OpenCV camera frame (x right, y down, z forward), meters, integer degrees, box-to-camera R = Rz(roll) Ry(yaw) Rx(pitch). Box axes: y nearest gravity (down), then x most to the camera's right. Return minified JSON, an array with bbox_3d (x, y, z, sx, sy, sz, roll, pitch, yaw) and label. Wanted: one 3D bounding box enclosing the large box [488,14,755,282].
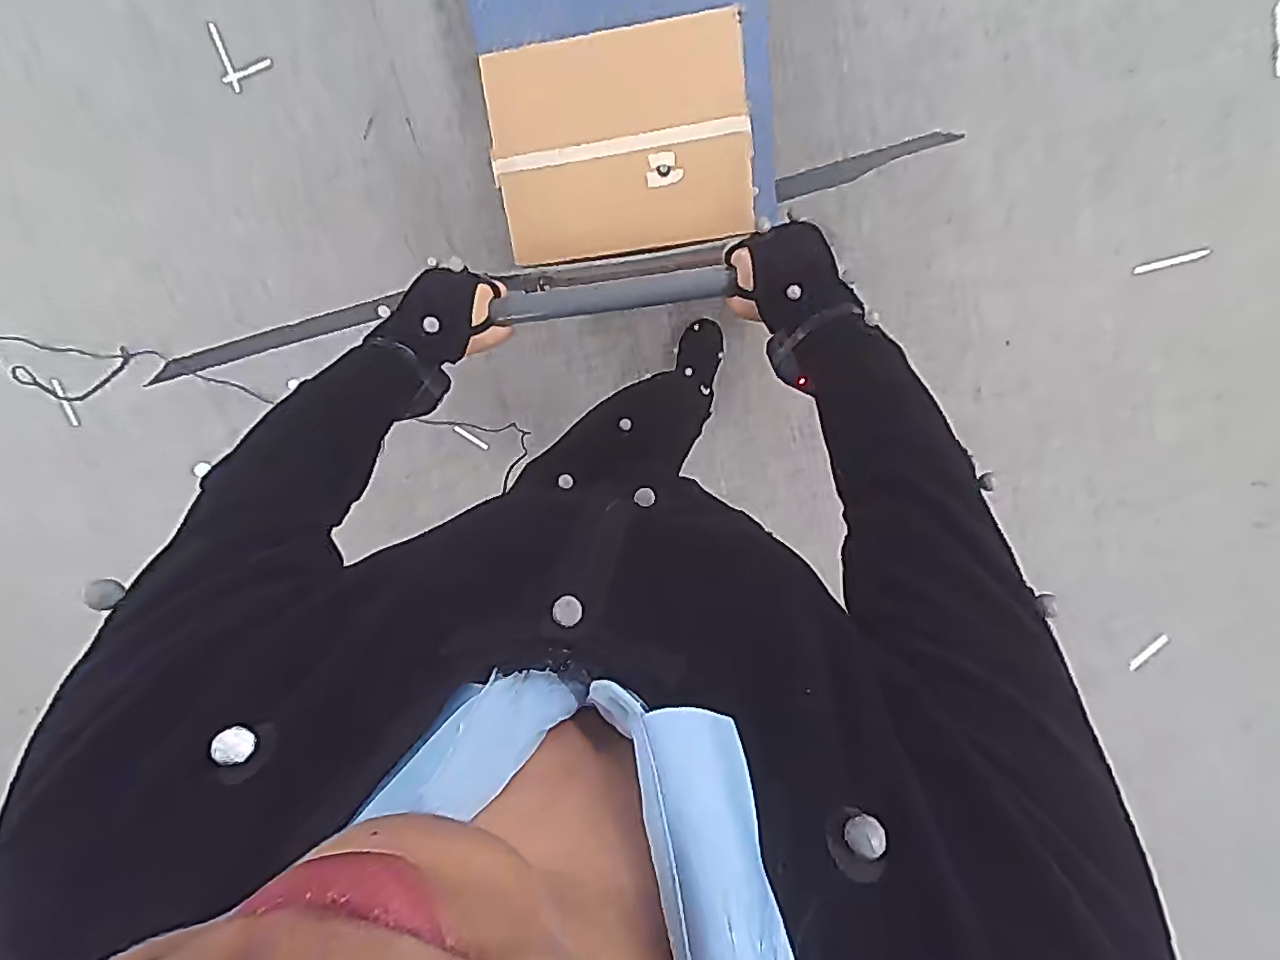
[{"bbox_3d":[-0.018,-0.575,1.018,0.408,0.320,0.320,-6,106,5],"label":"large box"}]
